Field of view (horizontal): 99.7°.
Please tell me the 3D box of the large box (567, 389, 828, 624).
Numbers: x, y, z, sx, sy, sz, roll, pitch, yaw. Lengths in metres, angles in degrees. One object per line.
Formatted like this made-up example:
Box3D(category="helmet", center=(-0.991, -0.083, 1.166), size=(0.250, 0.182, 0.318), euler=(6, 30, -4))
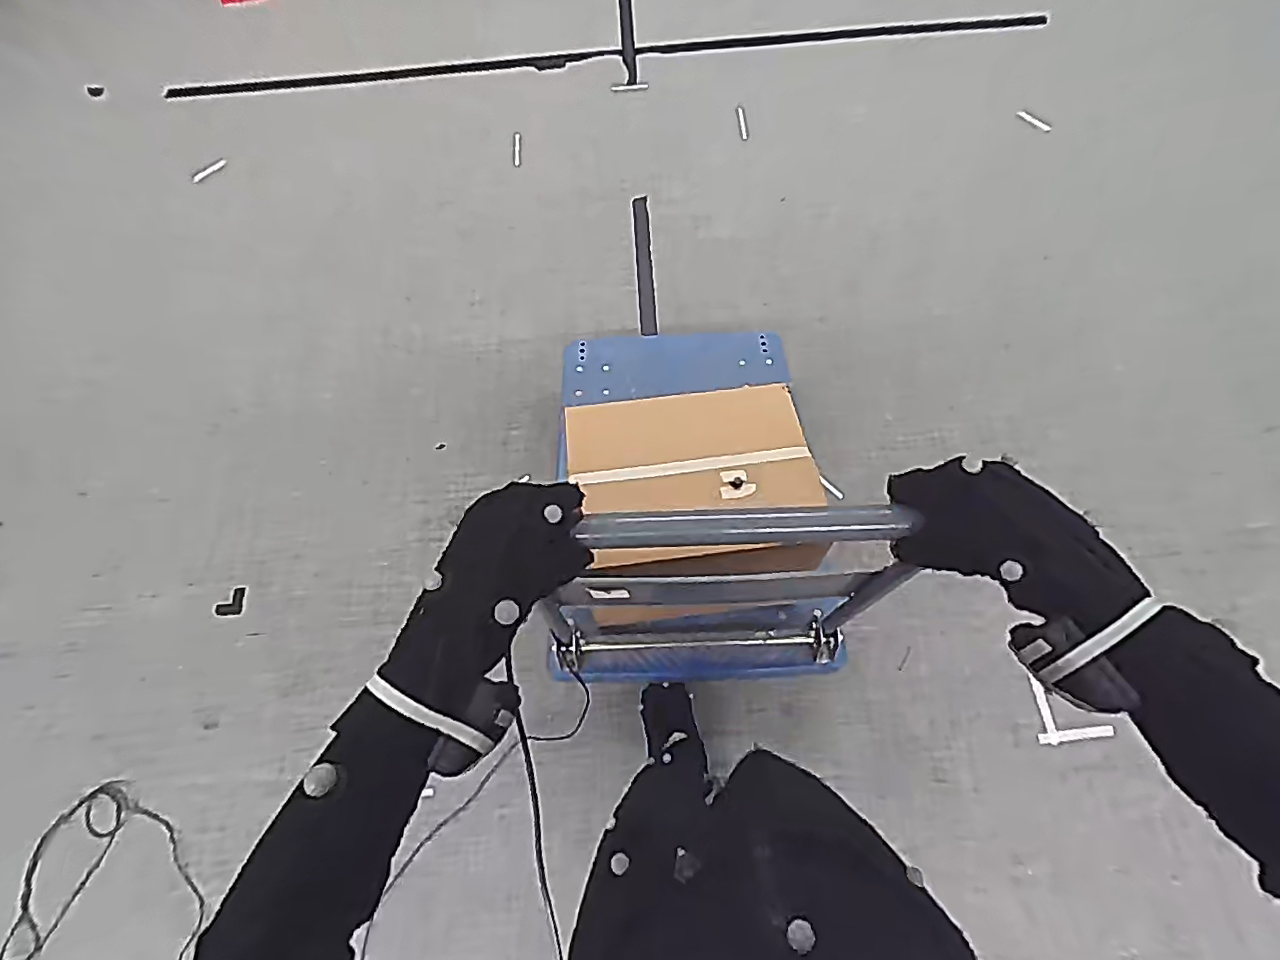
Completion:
Box3D(category="large box", center=(0.084, 0.061, 1.044), size=(0.408, 0.320, 0.320), euler=(-7, 60, -3))
